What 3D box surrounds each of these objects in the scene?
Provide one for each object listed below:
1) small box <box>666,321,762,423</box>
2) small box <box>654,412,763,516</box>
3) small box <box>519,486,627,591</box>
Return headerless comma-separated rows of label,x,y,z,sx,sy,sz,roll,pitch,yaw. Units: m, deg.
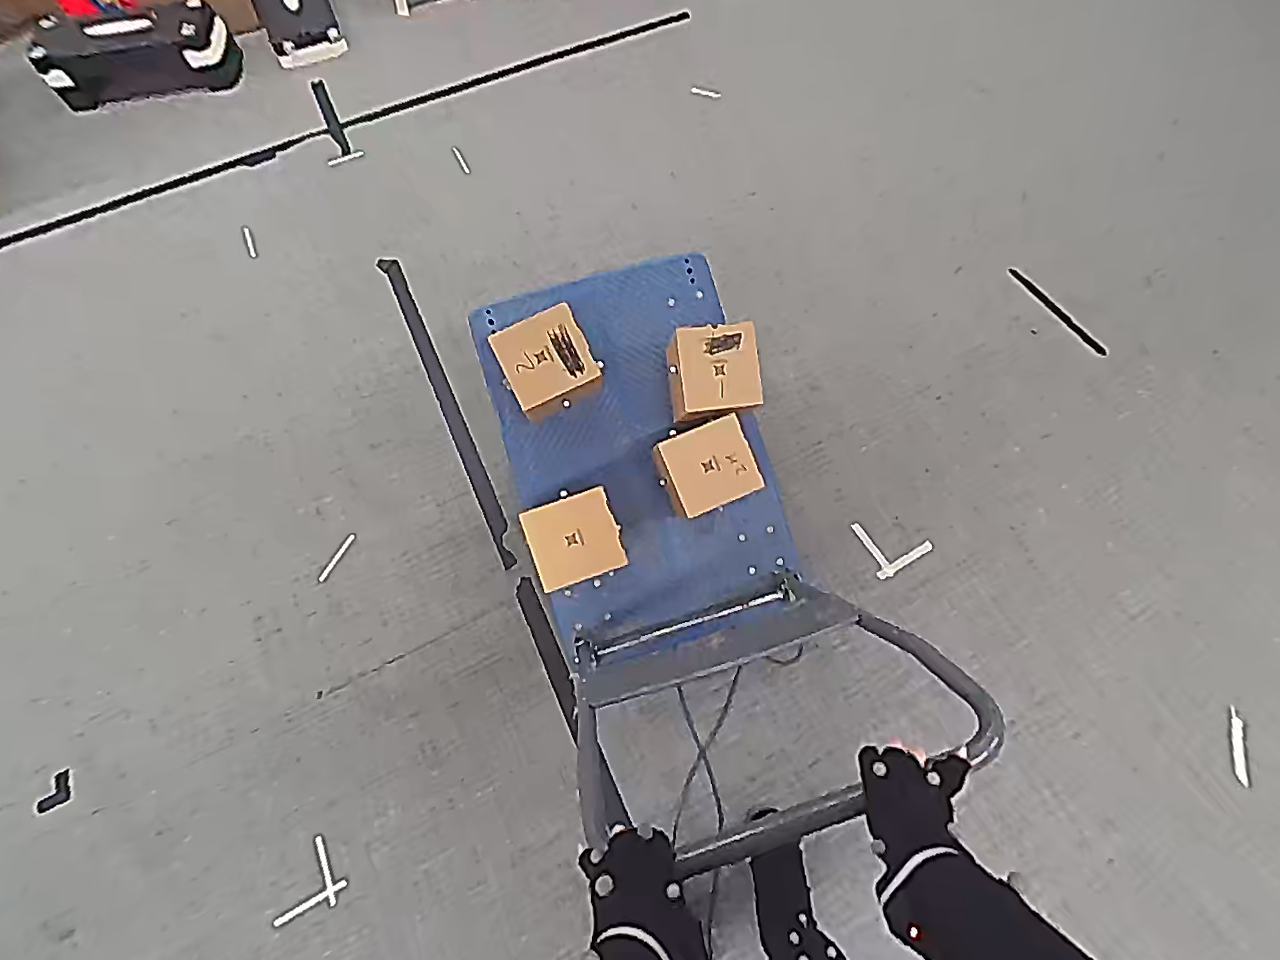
small box,0.153,-0.230,1.178,0.168,0.176,0.179,-7,89,-4
small box,0.137,-0.028,1.169,0.179,0.176,0.168,-23,90,-5
small box,-0.137,0.120,1.142,0.179,0.176,0.168,-20,89,-6
